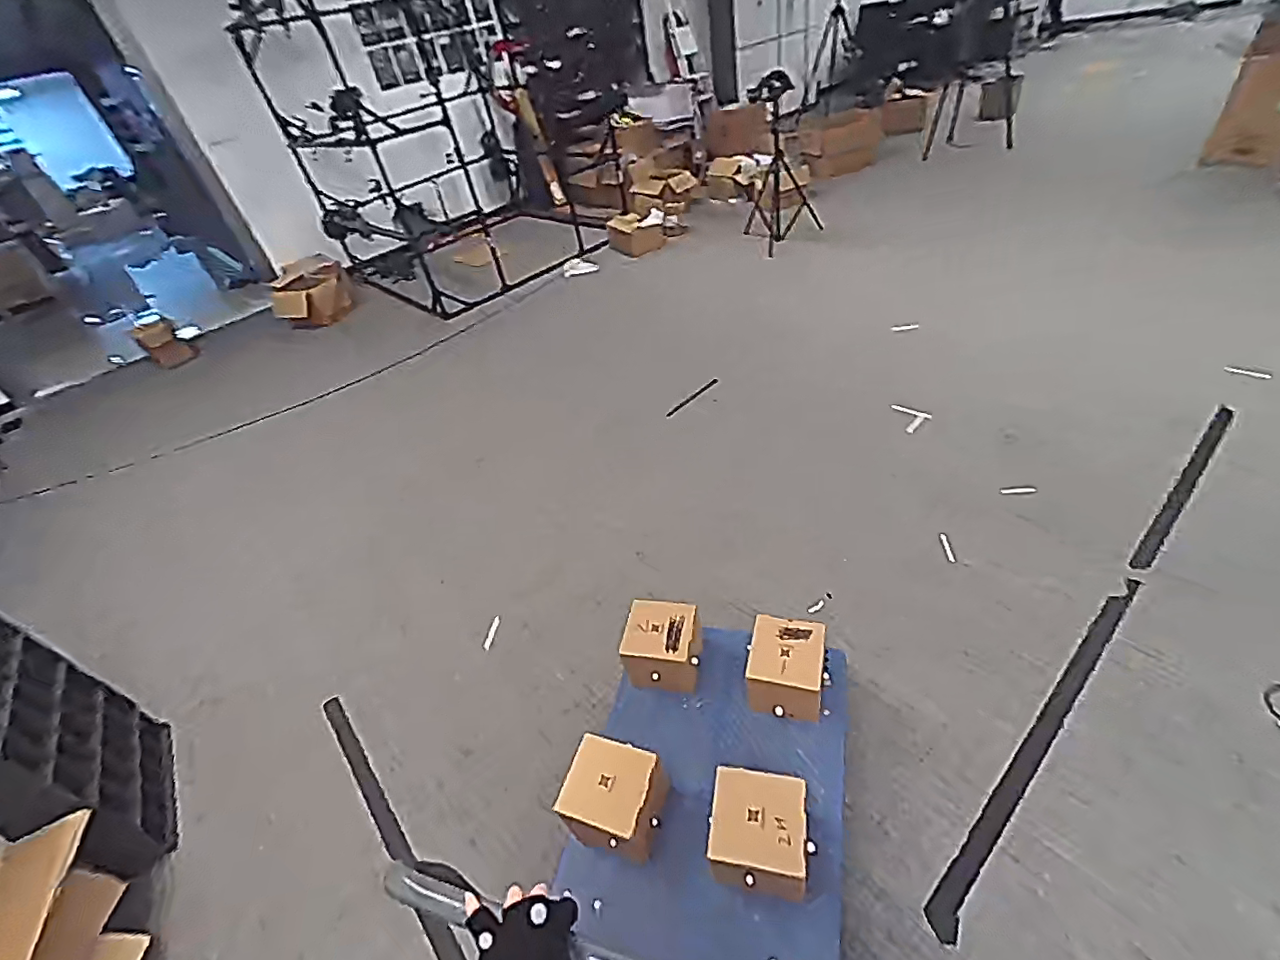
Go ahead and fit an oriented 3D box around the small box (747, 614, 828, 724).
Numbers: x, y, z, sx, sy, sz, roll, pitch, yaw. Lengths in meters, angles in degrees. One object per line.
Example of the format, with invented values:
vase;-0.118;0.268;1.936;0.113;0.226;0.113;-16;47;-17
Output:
small box;0.362;0.459;1.319;0.168;0.176;0.179;5;44;21

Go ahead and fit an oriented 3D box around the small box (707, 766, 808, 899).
small box;0.239;0.699;1.073;0.179;0.176;0.168;1;42;17

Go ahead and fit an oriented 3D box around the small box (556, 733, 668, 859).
small box;-0.052;0.688;1.174;0.179;0.176;0.168;7;43;21
